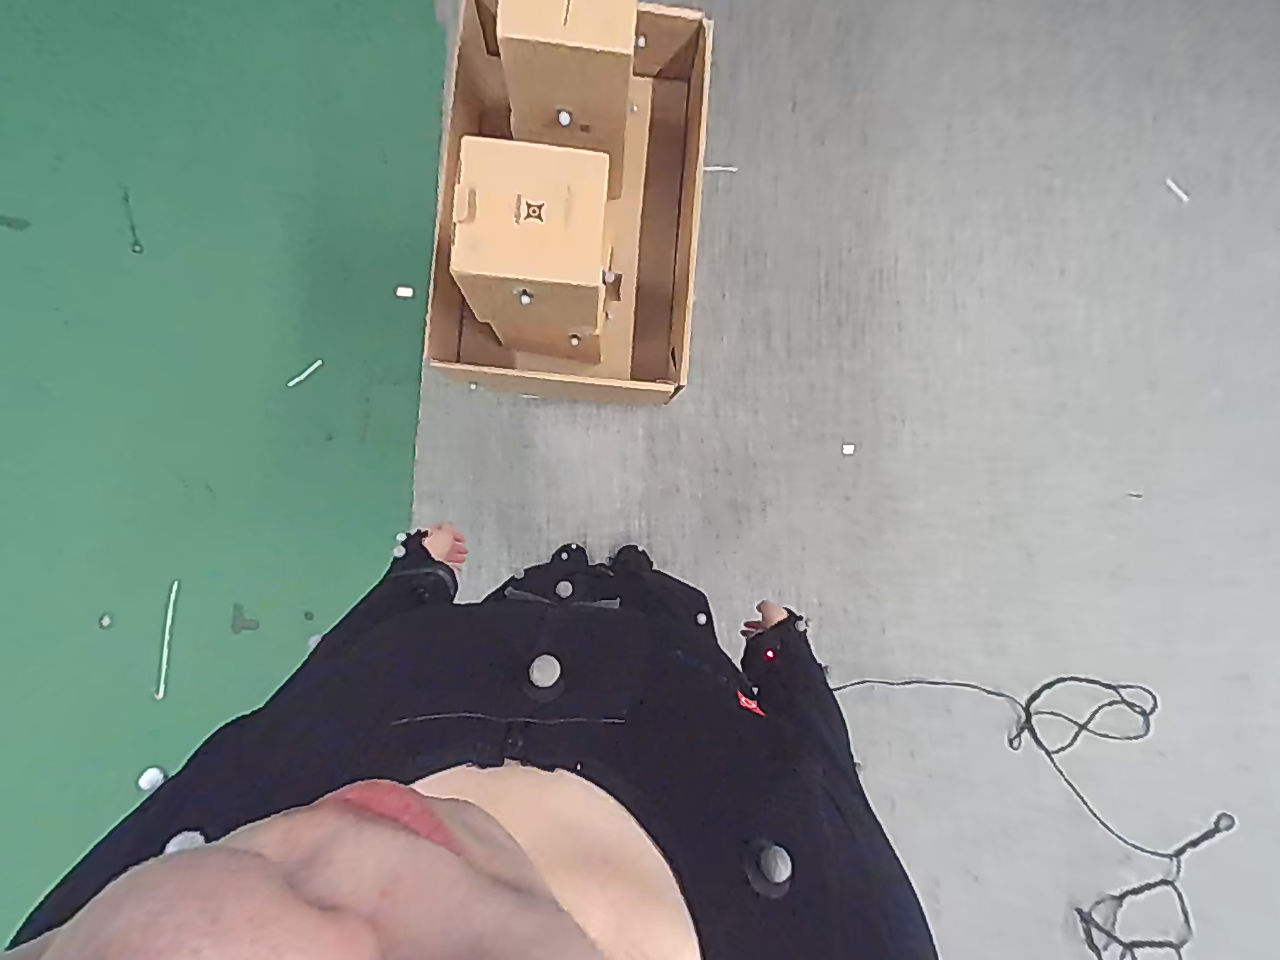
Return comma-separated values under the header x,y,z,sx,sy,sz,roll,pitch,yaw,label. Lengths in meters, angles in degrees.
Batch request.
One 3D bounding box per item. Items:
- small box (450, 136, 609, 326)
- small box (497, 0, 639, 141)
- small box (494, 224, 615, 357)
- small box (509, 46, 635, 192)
x,y,z,sx,sy,sz,roll,pitch,yaw,label
-0.137,-0.314,0.717,0.179,0.176,0.168,4,88,-6,small box
-0.090,-0.604,0.728,0.168,0.176,0.179,5,89,-5,small box
-0.141,-0.310,0.879,0.179,0.176,0.168,8,86,-5,small box
-0.107,-0.604,0.892,0.179,0.176,0.168,6,89,-4,small box
